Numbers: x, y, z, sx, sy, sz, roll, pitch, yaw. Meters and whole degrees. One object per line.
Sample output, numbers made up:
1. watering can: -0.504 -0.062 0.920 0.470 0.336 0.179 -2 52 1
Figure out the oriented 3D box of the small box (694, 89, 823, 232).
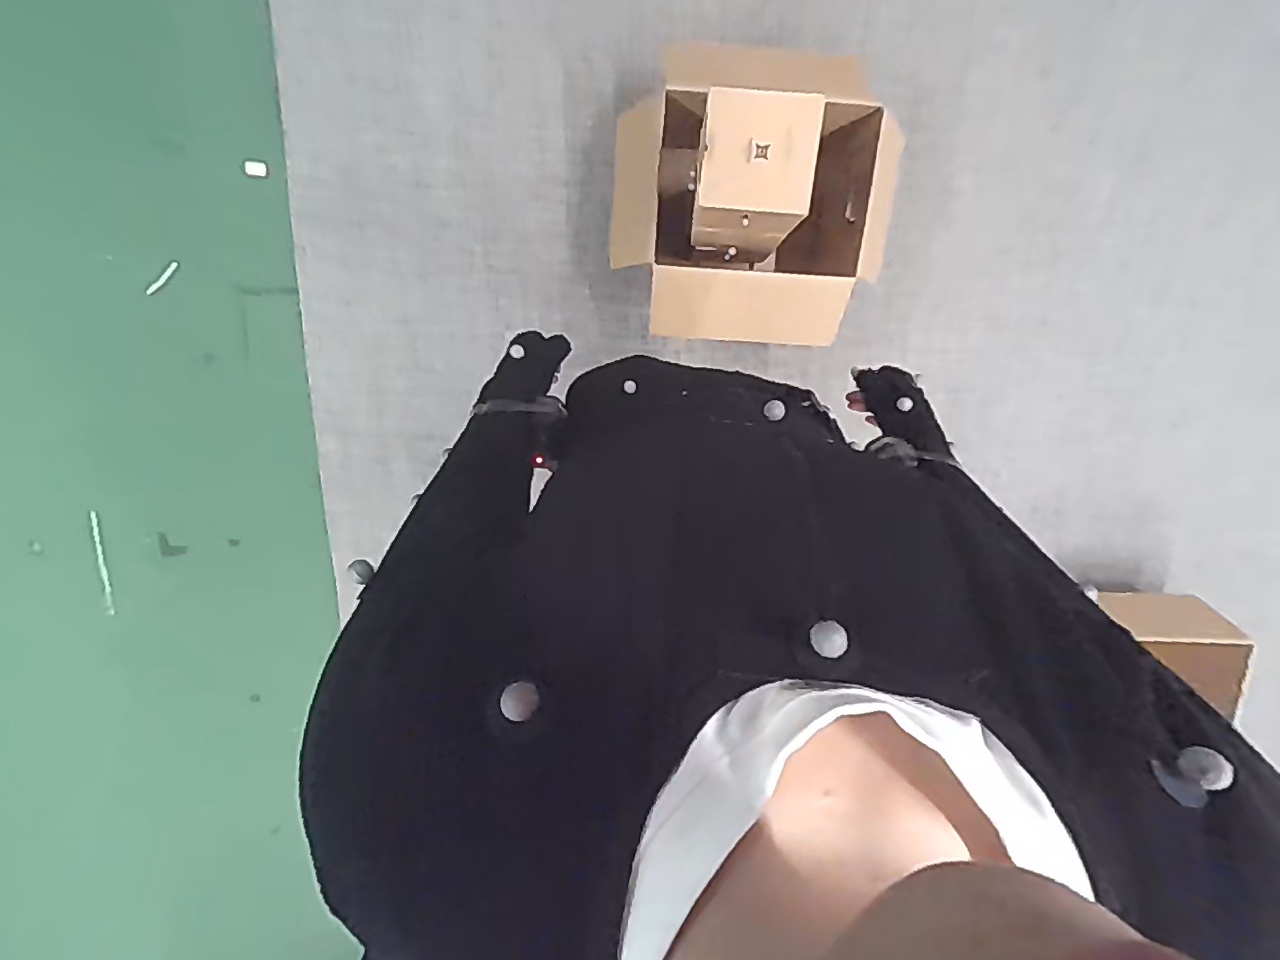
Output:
1. small box: 0.186 -0.521 0.904 0.179 0.176 0.168 4 105 2
